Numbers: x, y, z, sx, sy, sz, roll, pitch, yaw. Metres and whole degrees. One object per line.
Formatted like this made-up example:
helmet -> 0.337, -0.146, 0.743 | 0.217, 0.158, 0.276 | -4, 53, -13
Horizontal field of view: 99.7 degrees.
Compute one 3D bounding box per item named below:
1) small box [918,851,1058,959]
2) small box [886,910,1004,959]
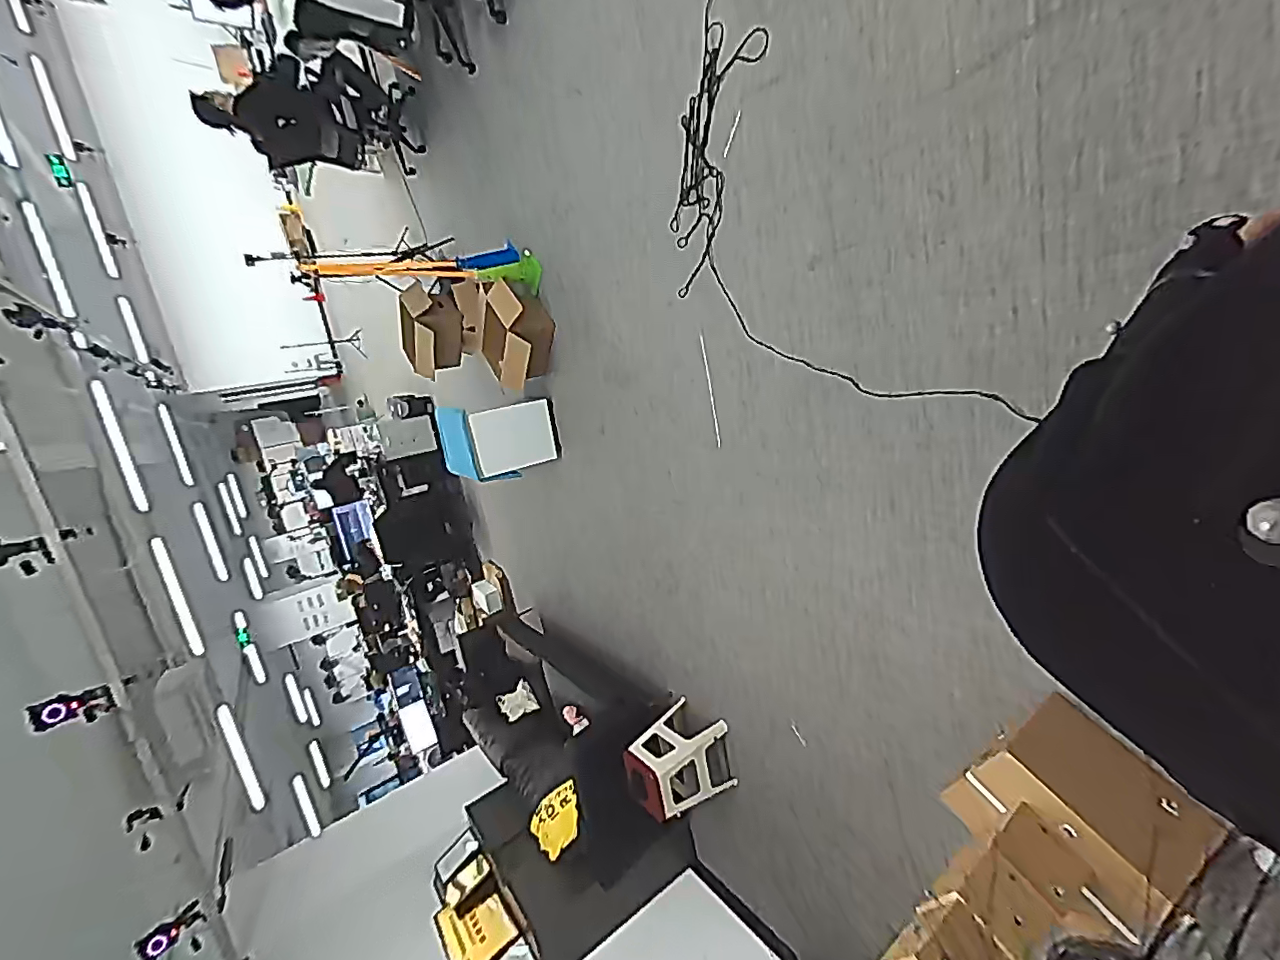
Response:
small box -> 0.748, 0.945, 1.161 | 0.168, 0.176, 0.179 | 47, 141, 35
small box -> 0.620, 0.999, 1.072 | 0.179, 0.176, 0.168 | 48, 142, 33
